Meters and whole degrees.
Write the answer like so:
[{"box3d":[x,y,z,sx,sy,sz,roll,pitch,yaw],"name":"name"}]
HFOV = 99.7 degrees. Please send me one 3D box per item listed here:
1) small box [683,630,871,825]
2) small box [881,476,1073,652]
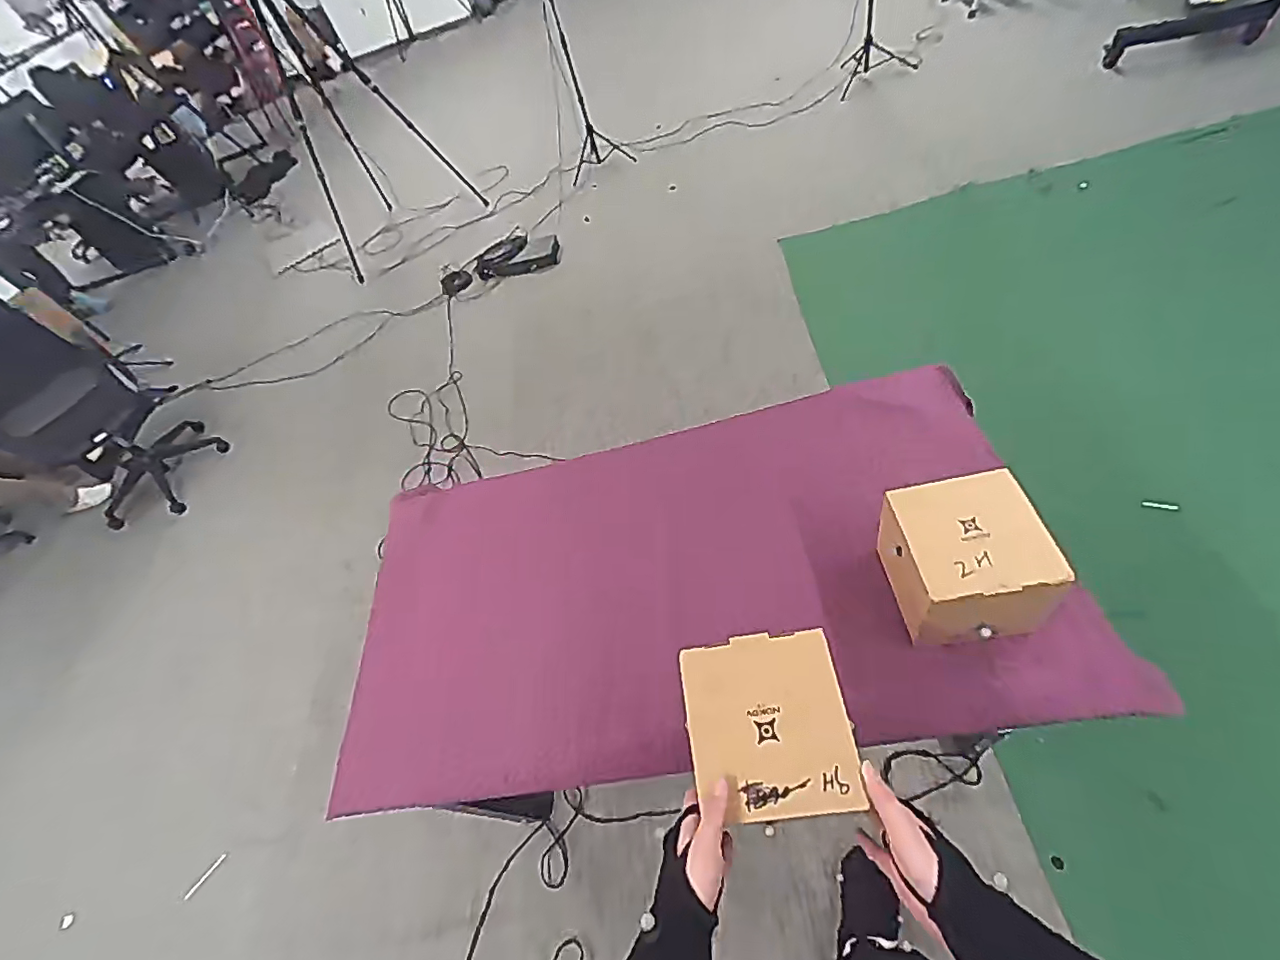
[{"box3d":[0.152,0.295,0.633,0.168,0.176,0.179,-12,57,9],"name":"small box"},{"box3d":[0.456,0.124,0.771,0.168,0.176,0.179,-12,51,11],"name":"small box"}]
